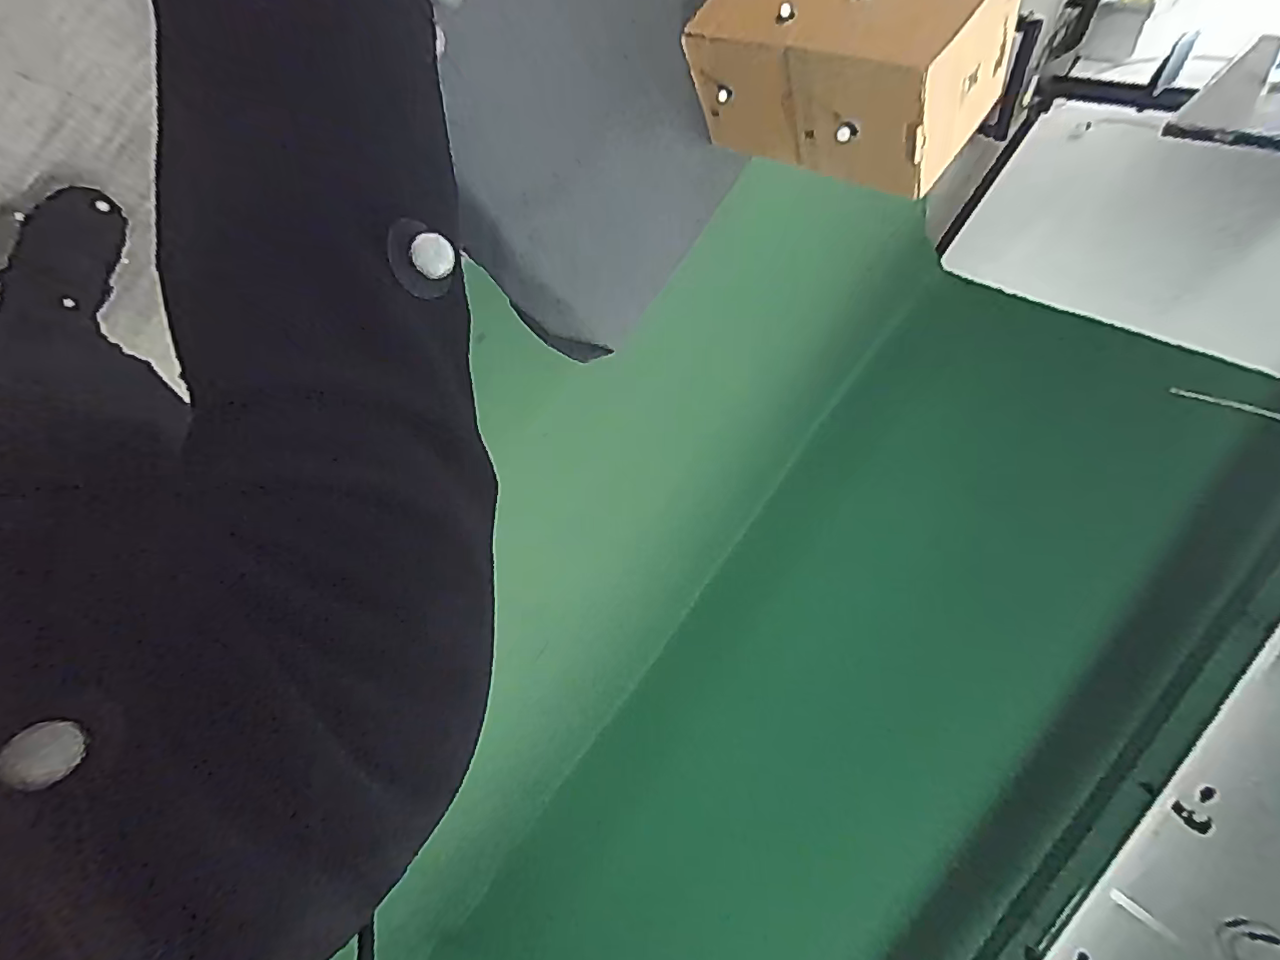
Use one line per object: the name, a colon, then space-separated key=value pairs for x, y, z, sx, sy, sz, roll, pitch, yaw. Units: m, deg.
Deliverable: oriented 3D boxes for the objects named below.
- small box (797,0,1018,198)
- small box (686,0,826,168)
small box: x=0.300 y=-0.476 z=0.631 sx=0.179 sy=0.176 sz=0.168 roll=-51 pitch=150 yaw=-1
small box: x=0.190 y=-0.564 z=0.716 sx=0.179 sy=0.176 sz=0.168 roll=-52 pitch=150 yaw=-2
